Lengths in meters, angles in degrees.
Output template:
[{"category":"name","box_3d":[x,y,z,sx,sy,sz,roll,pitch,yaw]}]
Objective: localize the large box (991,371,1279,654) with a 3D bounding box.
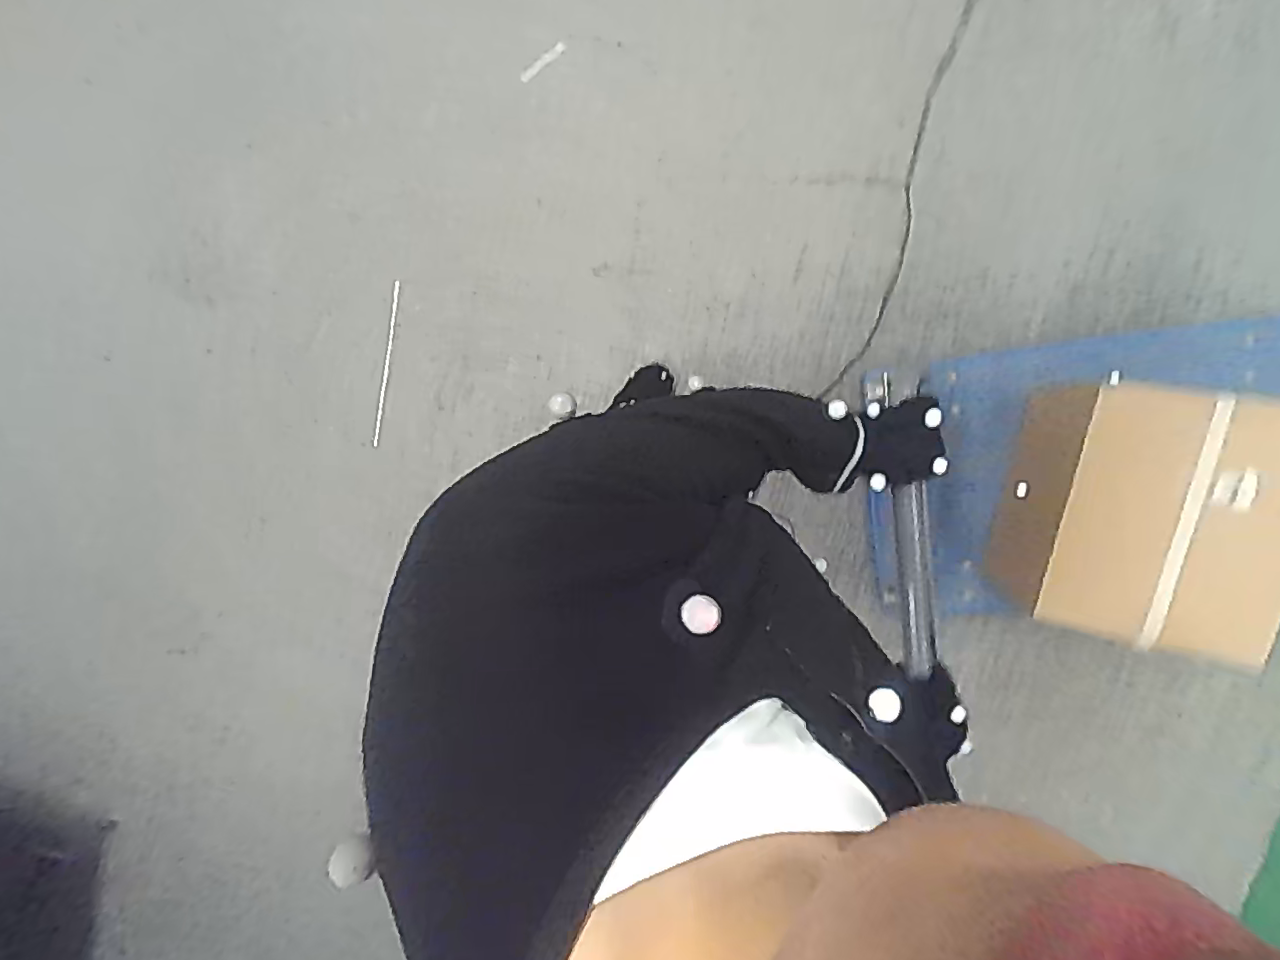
[{"category":"large box","box_3d":[0.890,0.034,0.978,0.320,0.320,0.408,12,100,16]}]
